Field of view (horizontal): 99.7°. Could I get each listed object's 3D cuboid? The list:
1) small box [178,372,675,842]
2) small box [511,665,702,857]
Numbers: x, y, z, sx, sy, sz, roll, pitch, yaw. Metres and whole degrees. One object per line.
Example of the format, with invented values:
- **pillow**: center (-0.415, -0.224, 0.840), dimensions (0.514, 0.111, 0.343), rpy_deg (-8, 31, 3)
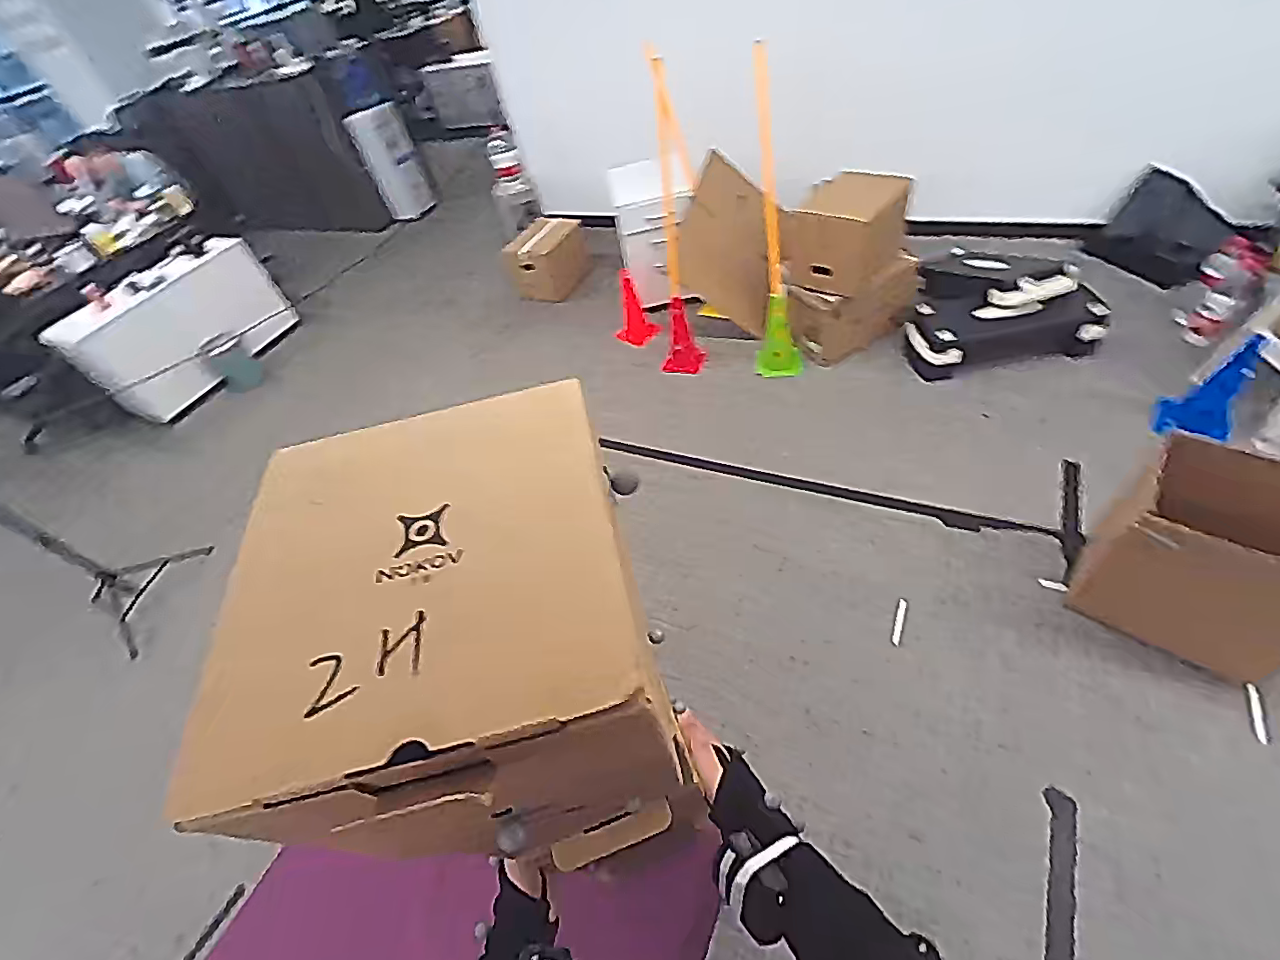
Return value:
- **small box**: center (-0.082, 0.074, 0.297), dimensions (0.168, 0.176, 0.179), rpy_deg (-14, 52, -1)
- **small box**: center (-0.042, 0.264, 0.561), dimensions (0.168, 0.176, 0.179), rpy_deg (-20, 51, -5)
